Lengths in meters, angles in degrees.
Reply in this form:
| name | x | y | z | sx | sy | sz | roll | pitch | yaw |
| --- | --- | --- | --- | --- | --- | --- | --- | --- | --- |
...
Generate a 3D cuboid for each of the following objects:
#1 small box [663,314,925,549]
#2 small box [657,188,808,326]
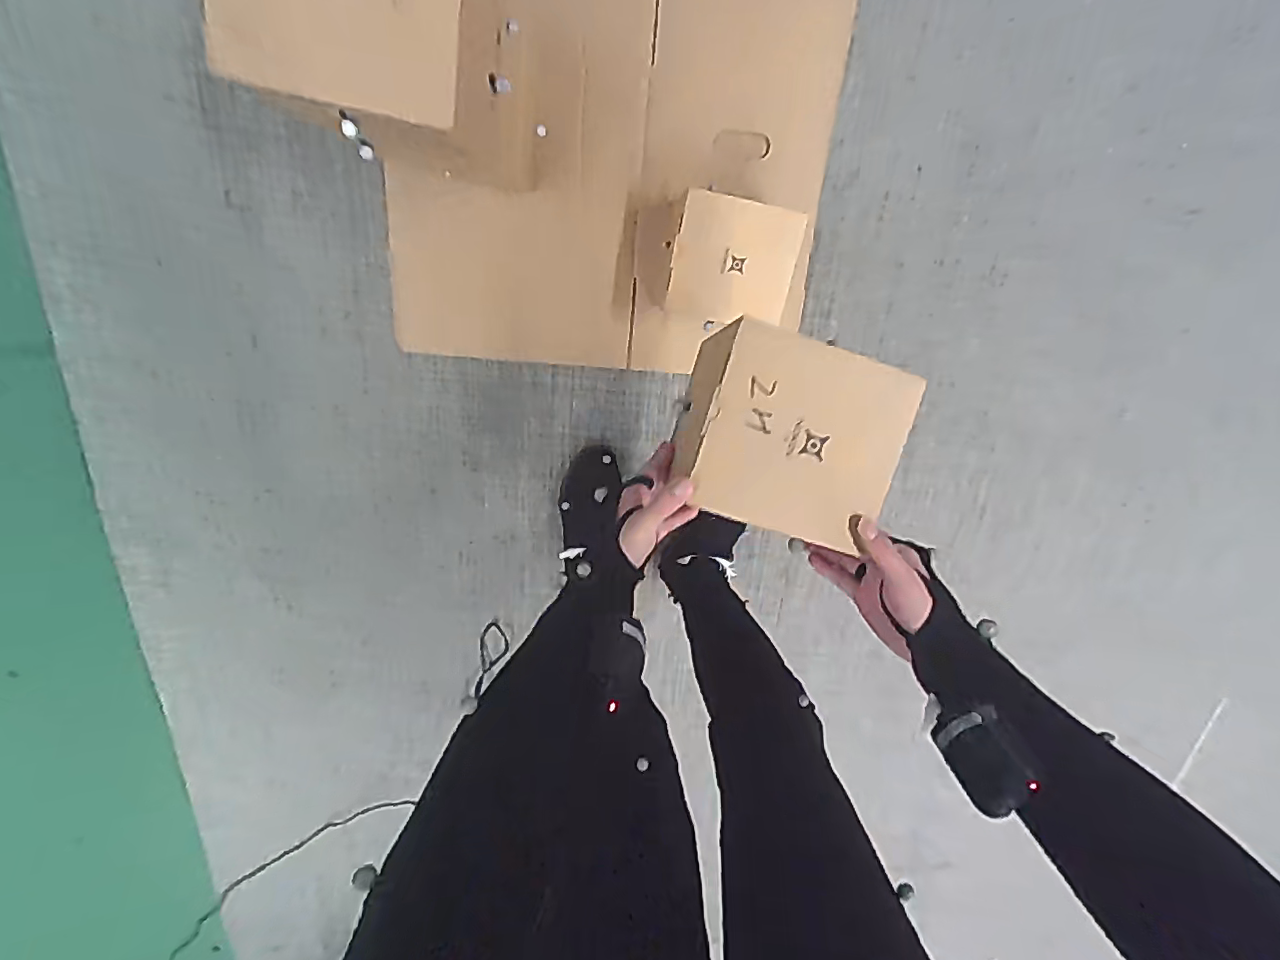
| name | x | y | z | sx | sy | sz | roll | pitch | yaw |
| --- | --- | --- | --- | --- | --- | --- | --- | --- | --- |
| small box | 0.136 | -0.050 | 0.546 | 0.179 | 0.176 | 0.168 | 18 | 96 | -7 |
| small box | 0.129 | -0.335 | 0.834 | 0.179 | 0.176 | 0.168 | 9 | 111 | -5 |
